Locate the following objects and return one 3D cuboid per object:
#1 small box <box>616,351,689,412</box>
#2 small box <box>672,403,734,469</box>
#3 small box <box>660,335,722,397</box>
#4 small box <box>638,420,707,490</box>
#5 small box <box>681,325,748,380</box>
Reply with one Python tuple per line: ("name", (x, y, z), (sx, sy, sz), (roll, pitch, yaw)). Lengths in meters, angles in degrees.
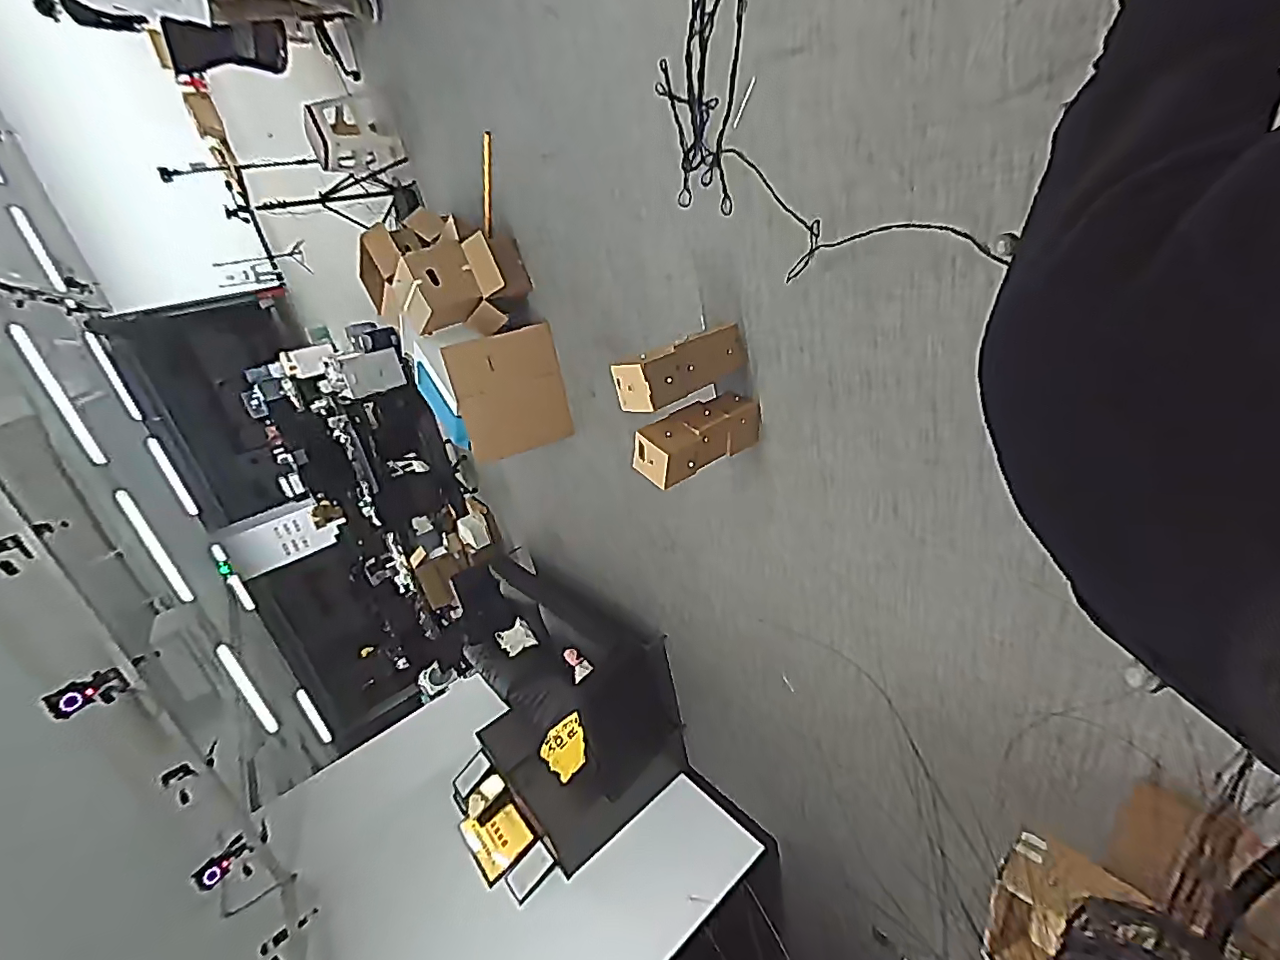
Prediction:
("small box", (0.050, -0.339, 1.855), (0.179, 0.176, 0.168), (12, 123, 50))
("small box", (0.235, -0.165, 2.036), (0.168, 0.176, 0.179), (36, 139, 38))
("small box", (0.171, -0.402, 1.944), (0.168, 0.176, 0.179), (1, 115, 55))
("small box", (0.114, -0.098, 1.947), (0.179, 0.176, 0.168), (39, 141, 34))
("small box", (0.286, -0.475, 2.034), (0.179, 0.176, 0.168), (9, 120, 54))
